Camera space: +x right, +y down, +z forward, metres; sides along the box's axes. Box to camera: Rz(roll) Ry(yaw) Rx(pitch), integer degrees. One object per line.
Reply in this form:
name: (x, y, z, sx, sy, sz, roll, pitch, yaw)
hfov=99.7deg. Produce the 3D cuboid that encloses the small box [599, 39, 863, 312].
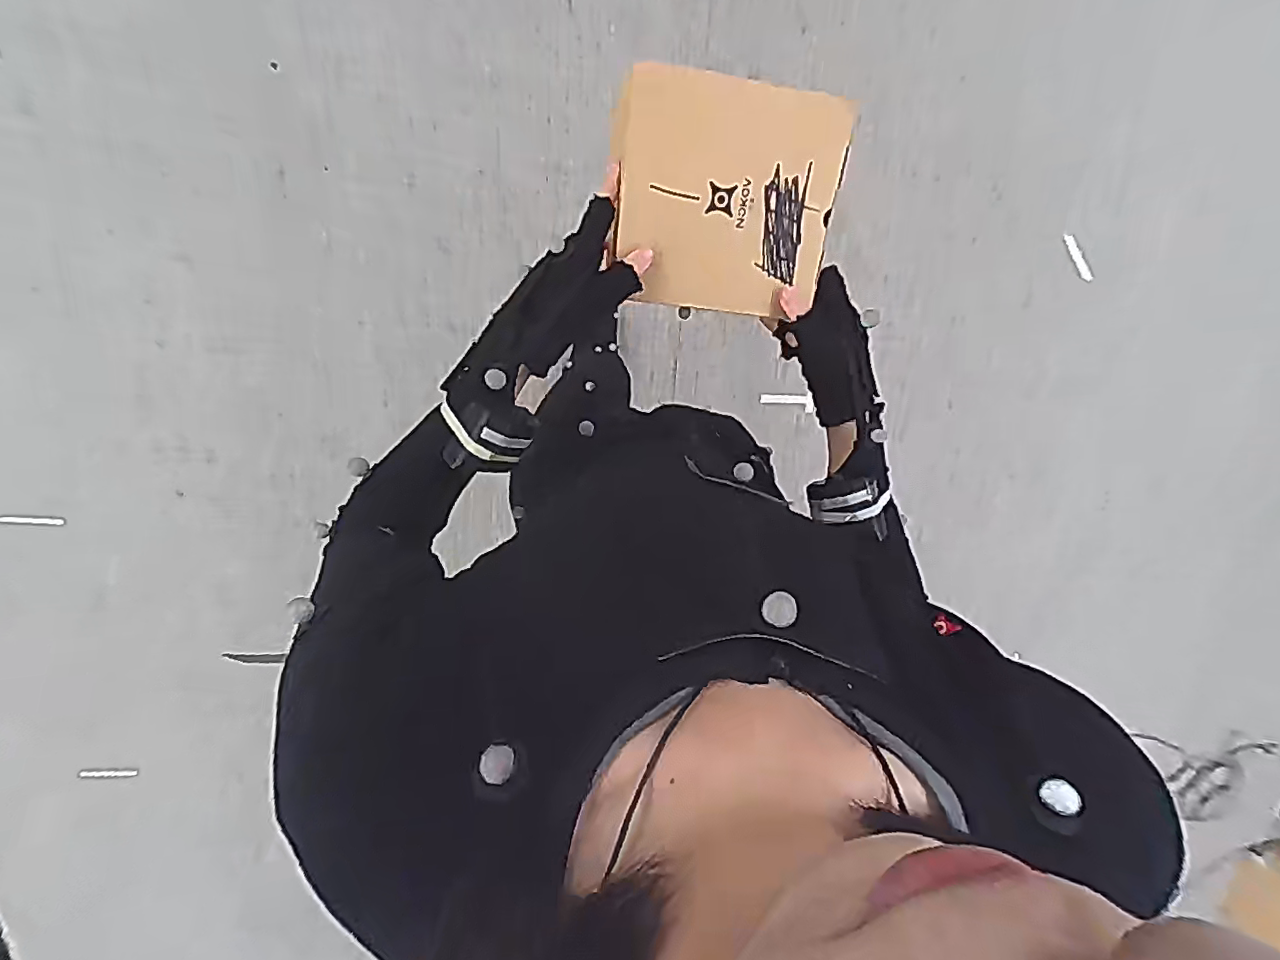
small box: (0.062, -0.256, 0.492, 0.179, 0.176, 0.168, 5, 111, -10)
